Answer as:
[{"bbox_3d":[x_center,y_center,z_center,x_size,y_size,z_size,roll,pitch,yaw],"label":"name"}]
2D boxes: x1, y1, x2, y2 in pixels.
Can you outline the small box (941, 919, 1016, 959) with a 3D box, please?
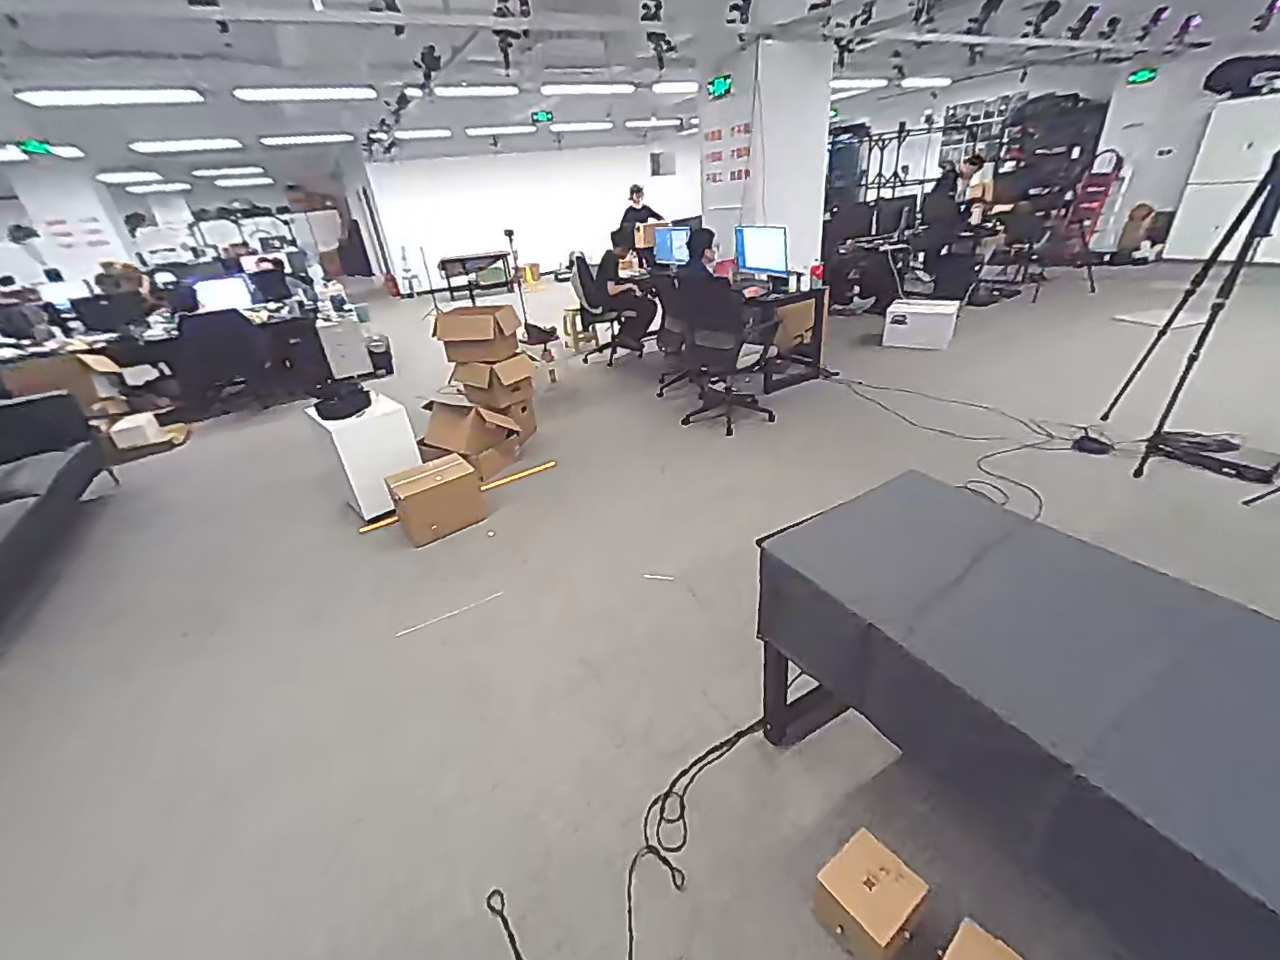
[{"bbox_3d":[0.659,1.024,1.045,0.179,0.176,0.168,-25,34,-33],"label":"small box"}]
